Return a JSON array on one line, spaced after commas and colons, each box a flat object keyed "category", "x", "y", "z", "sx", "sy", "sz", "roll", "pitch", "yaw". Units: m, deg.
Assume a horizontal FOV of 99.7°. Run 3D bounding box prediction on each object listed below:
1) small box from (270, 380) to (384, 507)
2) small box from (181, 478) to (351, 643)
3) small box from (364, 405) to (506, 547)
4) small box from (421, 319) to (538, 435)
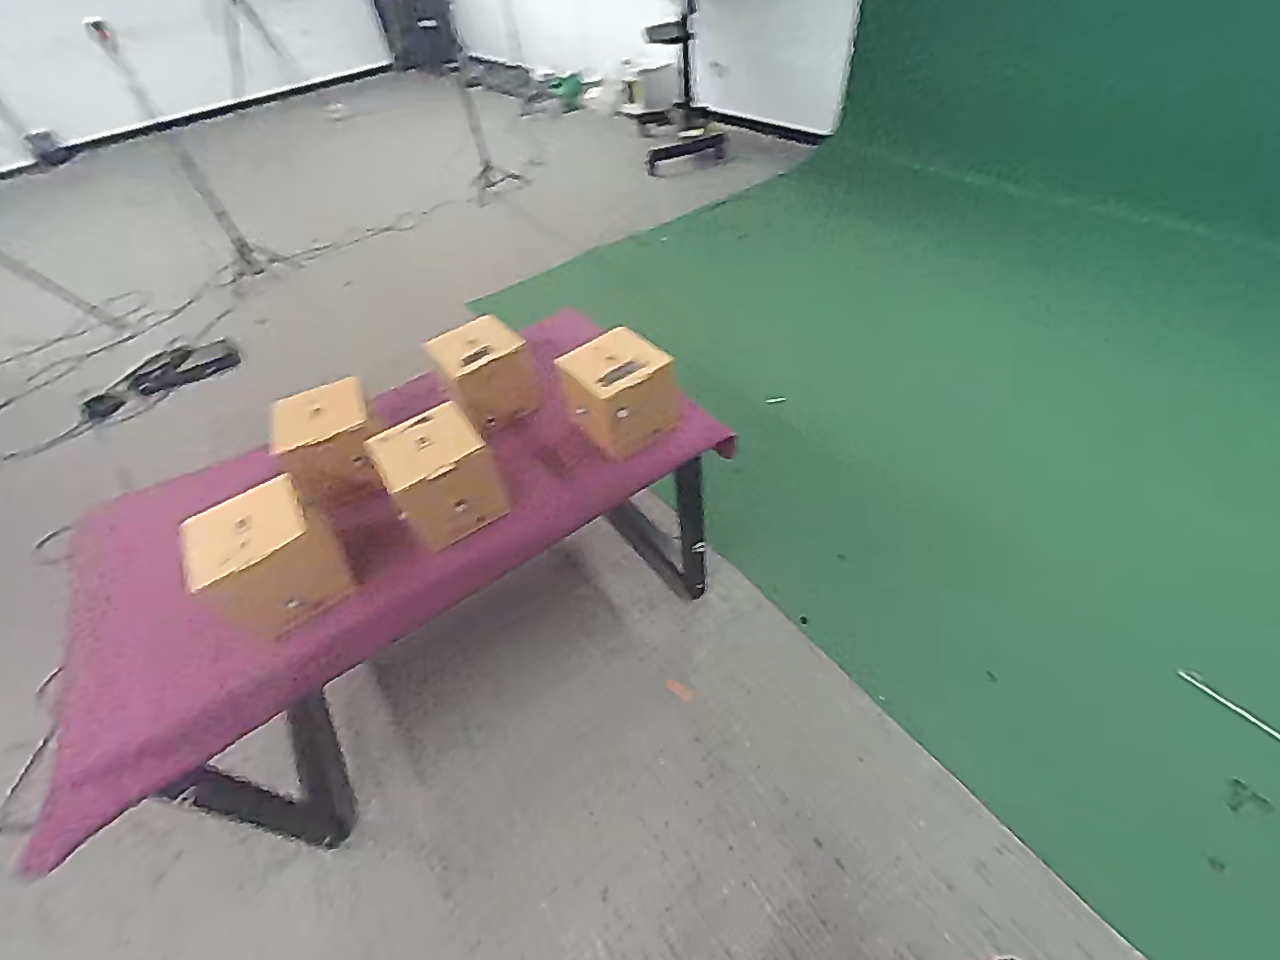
[{"category": "small box", "x": -0.616, "y": -0.067, "z": 1.097, "sx": 0.168, "sy": 0.176, "sz": 0.179, "roll": -22, "pitch": 48, "yaw": -13}, {"category": "small box", "x": -0.622, "y": 0.136, "z": 0.908, "sx": 0.168, "sy": 0.176, "sz": 0.179, "roll": -31, "pitch": 50, "yaw": -19}, {"category": "small box", "x": -0.371, "y": 0.000, "z": 0.998, "sx": 0.168, "sy": 0.176, "sz": 0.179, "roll": -30, "pitch": 50, "yaw": -19}, {"category": "small box", "x": -0.349, "y": -0.223, "z": 1.200, "sx": 0.168, "sy": 0.176, "sz": 0.179, "roll": -32, "pitch": 50, "yaw": -20}]
